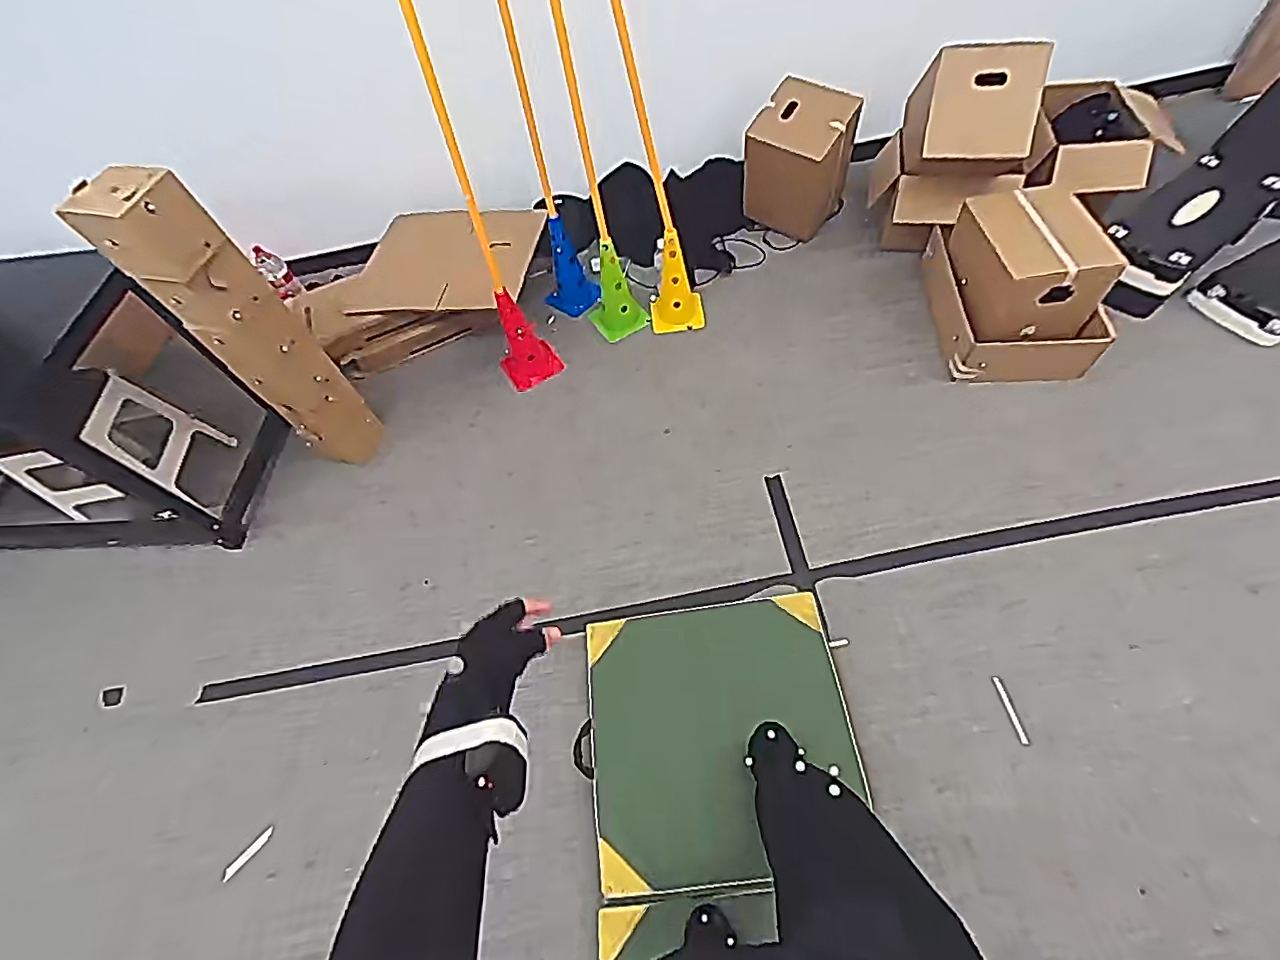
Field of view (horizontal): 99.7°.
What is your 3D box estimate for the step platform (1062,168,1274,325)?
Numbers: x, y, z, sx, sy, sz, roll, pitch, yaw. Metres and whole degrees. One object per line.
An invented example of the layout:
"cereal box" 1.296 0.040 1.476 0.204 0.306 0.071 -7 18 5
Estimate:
"step platform" 1.858 -0.835 1.909 0.684 0.204 0.286 -35 60 -13
